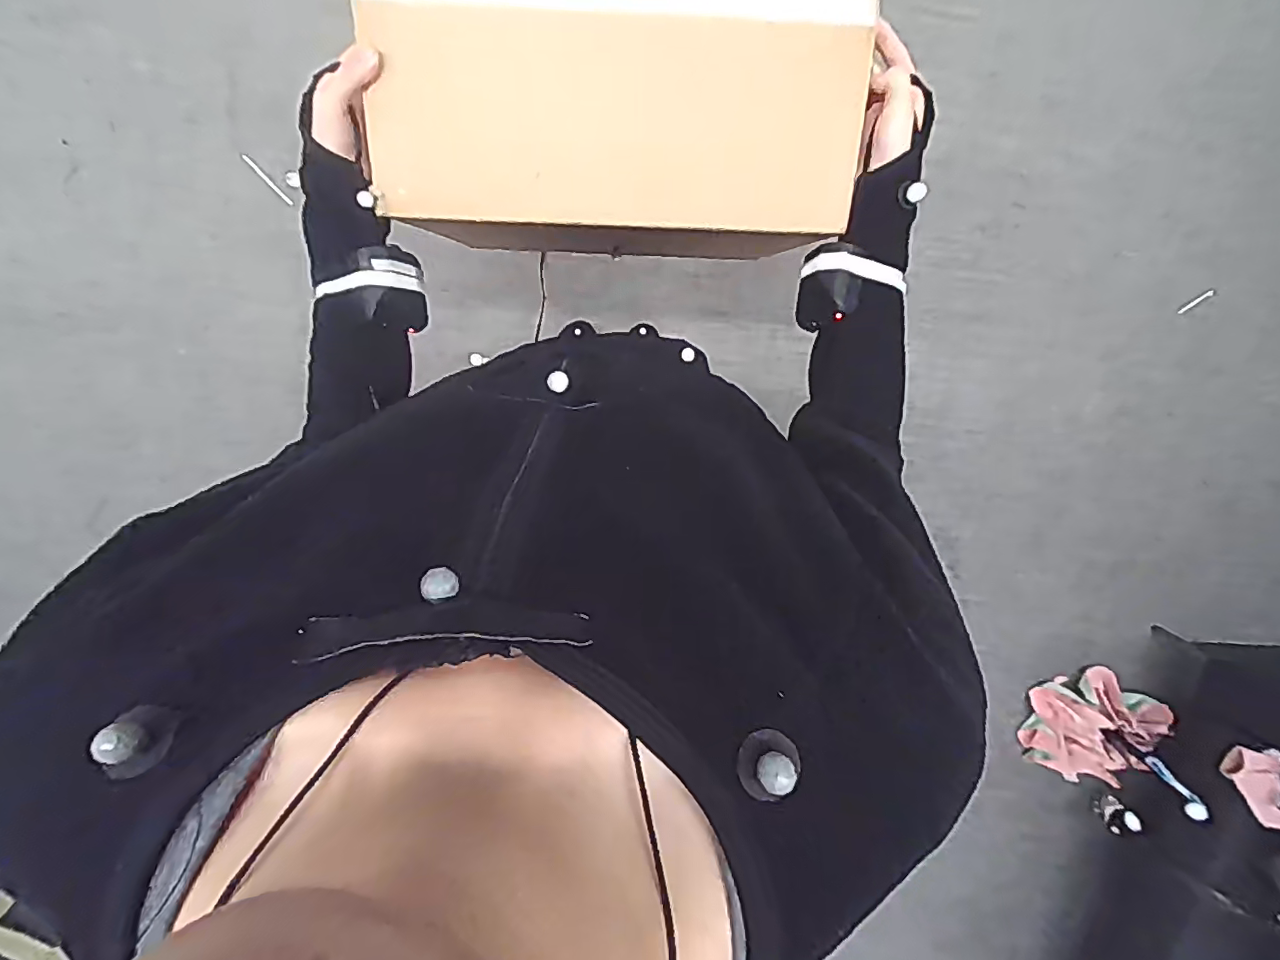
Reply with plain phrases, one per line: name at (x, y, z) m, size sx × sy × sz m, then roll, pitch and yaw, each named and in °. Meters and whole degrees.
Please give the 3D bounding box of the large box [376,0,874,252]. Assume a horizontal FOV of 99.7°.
large box at (-0.013, -0.419, 0.573) m, size 0.408 × 0.320 × 0.320 m, roll 1°, pitch 108°, yaw -2°
